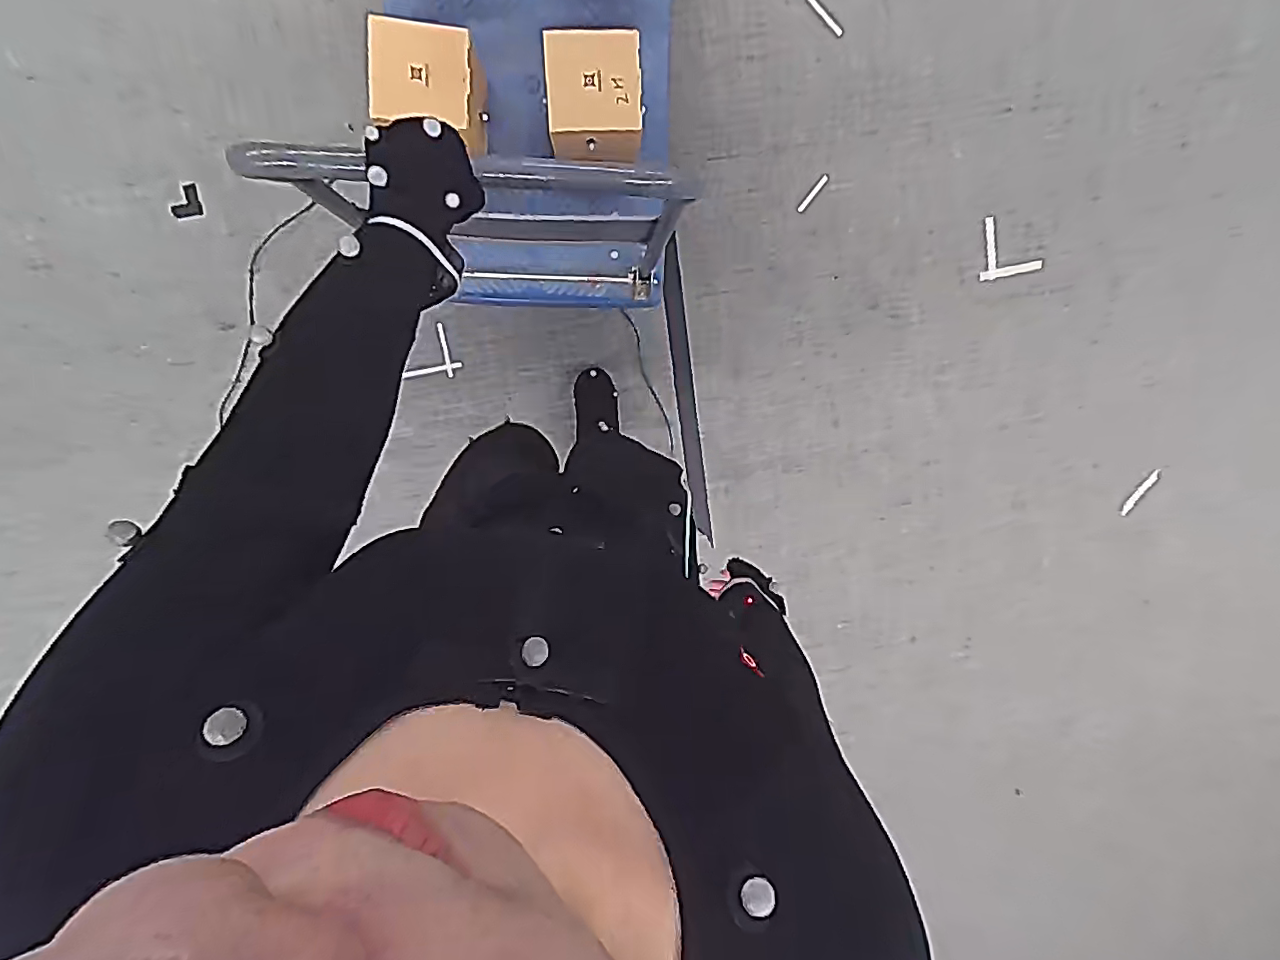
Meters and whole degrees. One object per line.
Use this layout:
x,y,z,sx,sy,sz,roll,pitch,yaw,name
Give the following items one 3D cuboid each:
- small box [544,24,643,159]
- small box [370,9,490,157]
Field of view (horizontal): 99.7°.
-0.086,-0.747,1.057,0.179,0.176,0.168,-3,102,-4,small box
-0.394,-0.744,1.035,0.179,0.176,0.168,3,101,-7,small box
